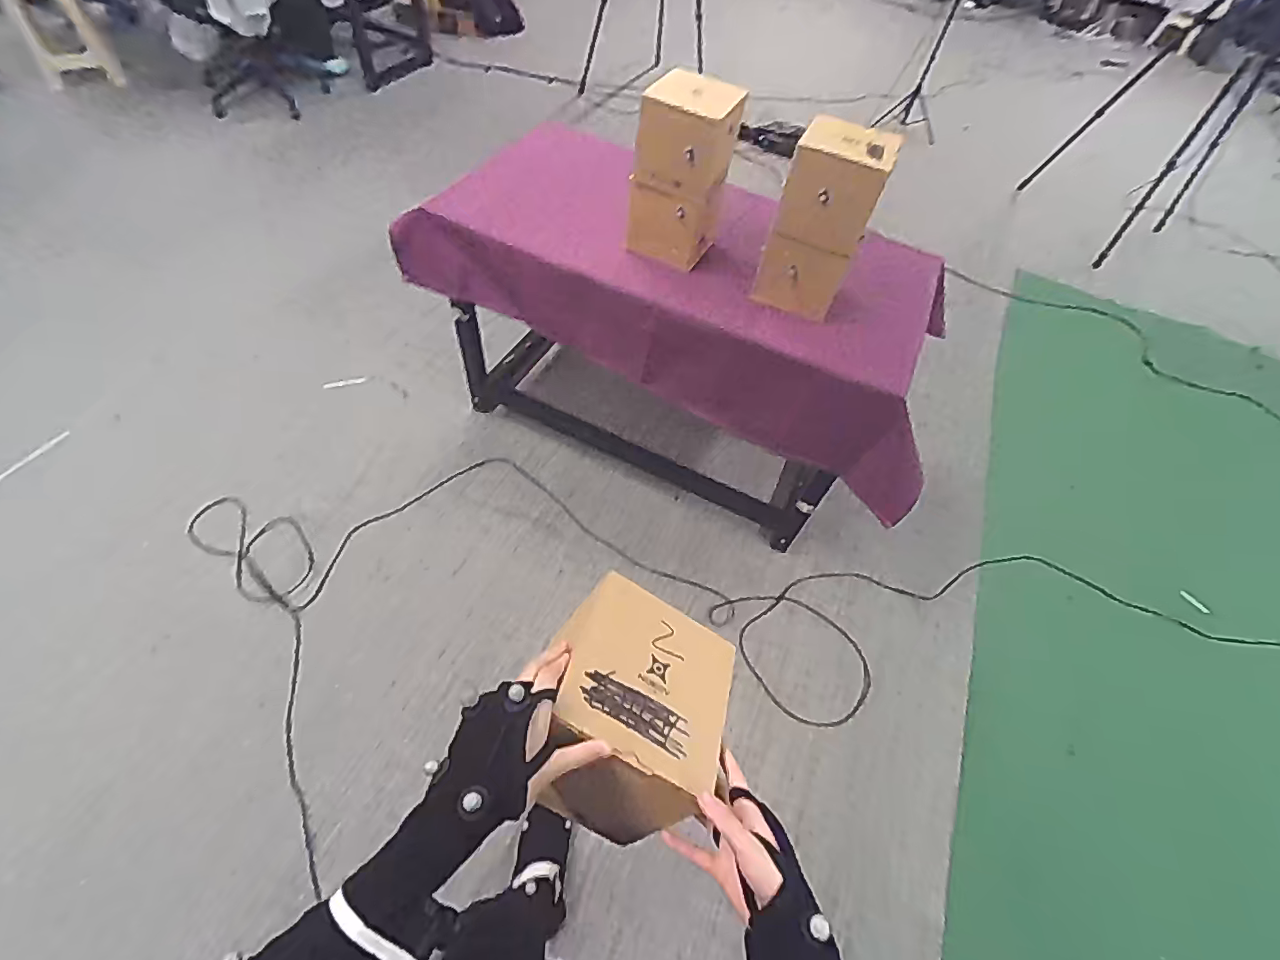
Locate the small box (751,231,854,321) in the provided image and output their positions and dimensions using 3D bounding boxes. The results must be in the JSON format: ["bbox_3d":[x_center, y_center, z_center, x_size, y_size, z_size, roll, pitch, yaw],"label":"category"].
[{"bbox_3d":[0.366,-0.485,1.215,0.179,0.176,0.168,22,55,9],"label":"small box"}]

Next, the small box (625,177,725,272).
[{"bbox_3d":[0.076,-0.623,1.280,0.179,0.176,0.168,26,55,10],"label":"small box"}]

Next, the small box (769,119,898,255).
[{"bbox_3d":[0.381,-0.579,1.080,0.179,0.176,0.168,23,54,10],"label":"small box"}]

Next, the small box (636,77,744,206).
[{"bbox_3d":[0.100,-0.714,1.147,0.168,0.176,0.179,25,54,9],"label":"small box"}]
